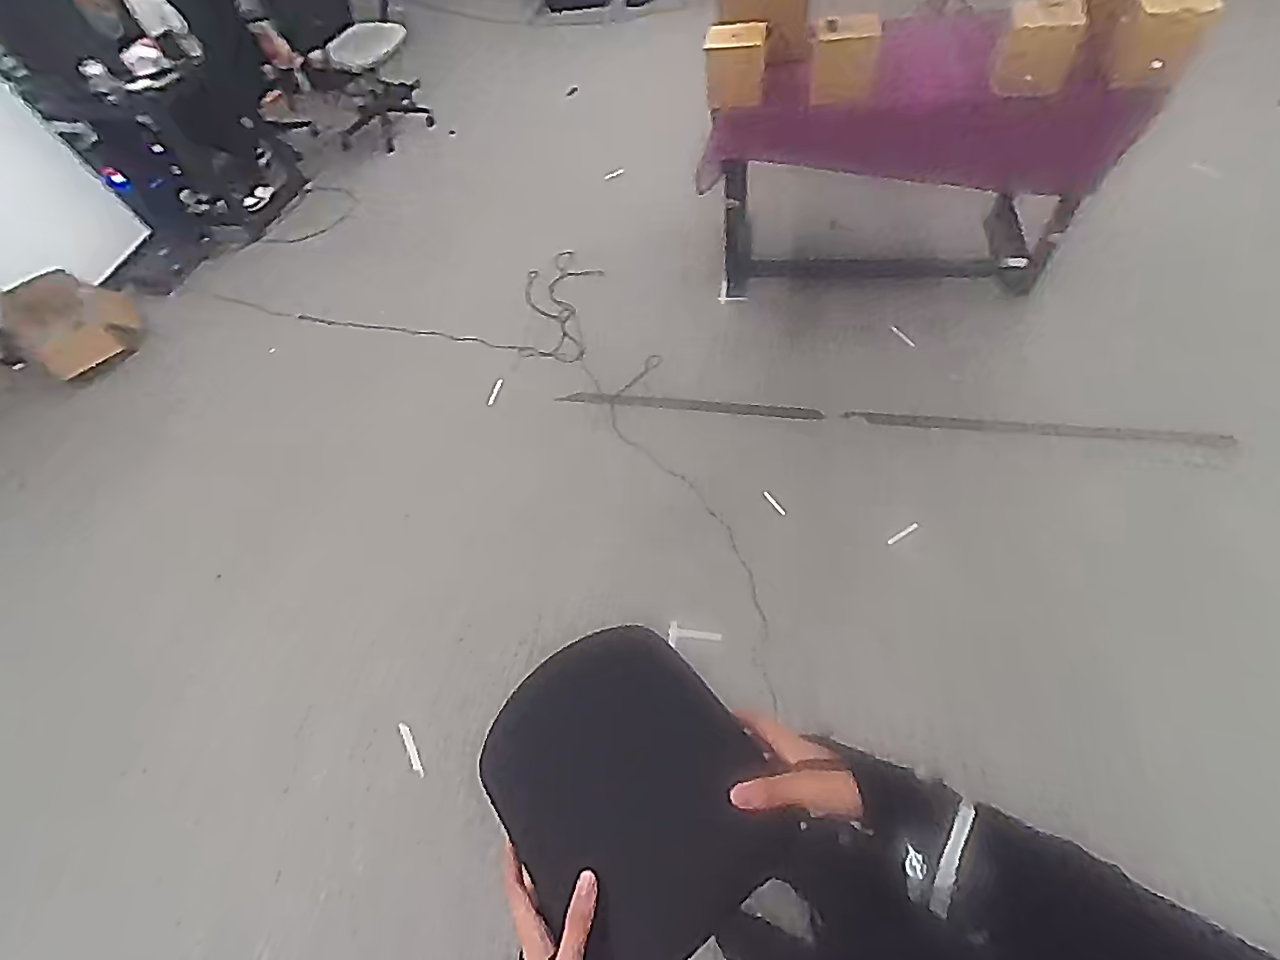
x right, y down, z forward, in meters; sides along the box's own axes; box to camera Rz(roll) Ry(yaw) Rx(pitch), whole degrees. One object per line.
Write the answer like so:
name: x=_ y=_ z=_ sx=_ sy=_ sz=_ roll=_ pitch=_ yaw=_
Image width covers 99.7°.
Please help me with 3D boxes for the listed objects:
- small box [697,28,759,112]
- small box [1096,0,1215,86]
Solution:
small box: x=0.282 y=-1.299 z=1.719 sx=0.179 sy=0.176 sz=0.168 roll=5 pitch=58 yaw=12
small box: x=1.372 y=-1.193 z=1.456 sx=0.168 sy=0.176 sz=0.179 roll=10 pitch=59 yaw=17
